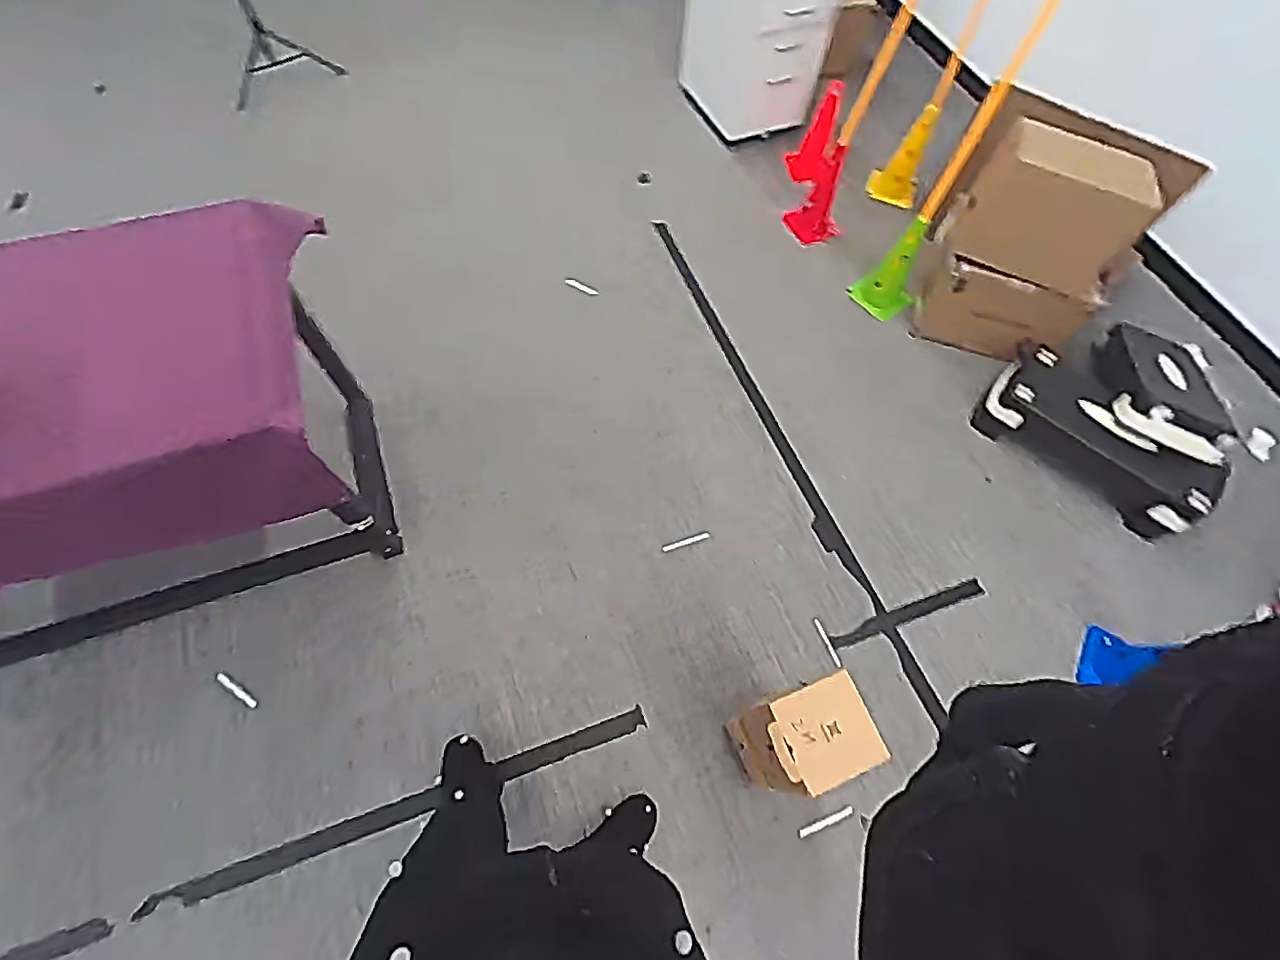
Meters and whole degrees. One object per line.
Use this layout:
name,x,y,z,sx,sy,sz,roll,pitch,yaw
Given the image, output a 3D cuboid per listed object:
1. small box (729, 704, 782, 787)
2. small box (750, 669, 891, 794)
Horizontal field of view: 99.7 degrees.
small box,0.338,0.642,1.353,0.179,0.176,0.168,-21,68,-13
small box,0.342,0.486,1.061,0.179,0.176,0.168,-18,68,-11
